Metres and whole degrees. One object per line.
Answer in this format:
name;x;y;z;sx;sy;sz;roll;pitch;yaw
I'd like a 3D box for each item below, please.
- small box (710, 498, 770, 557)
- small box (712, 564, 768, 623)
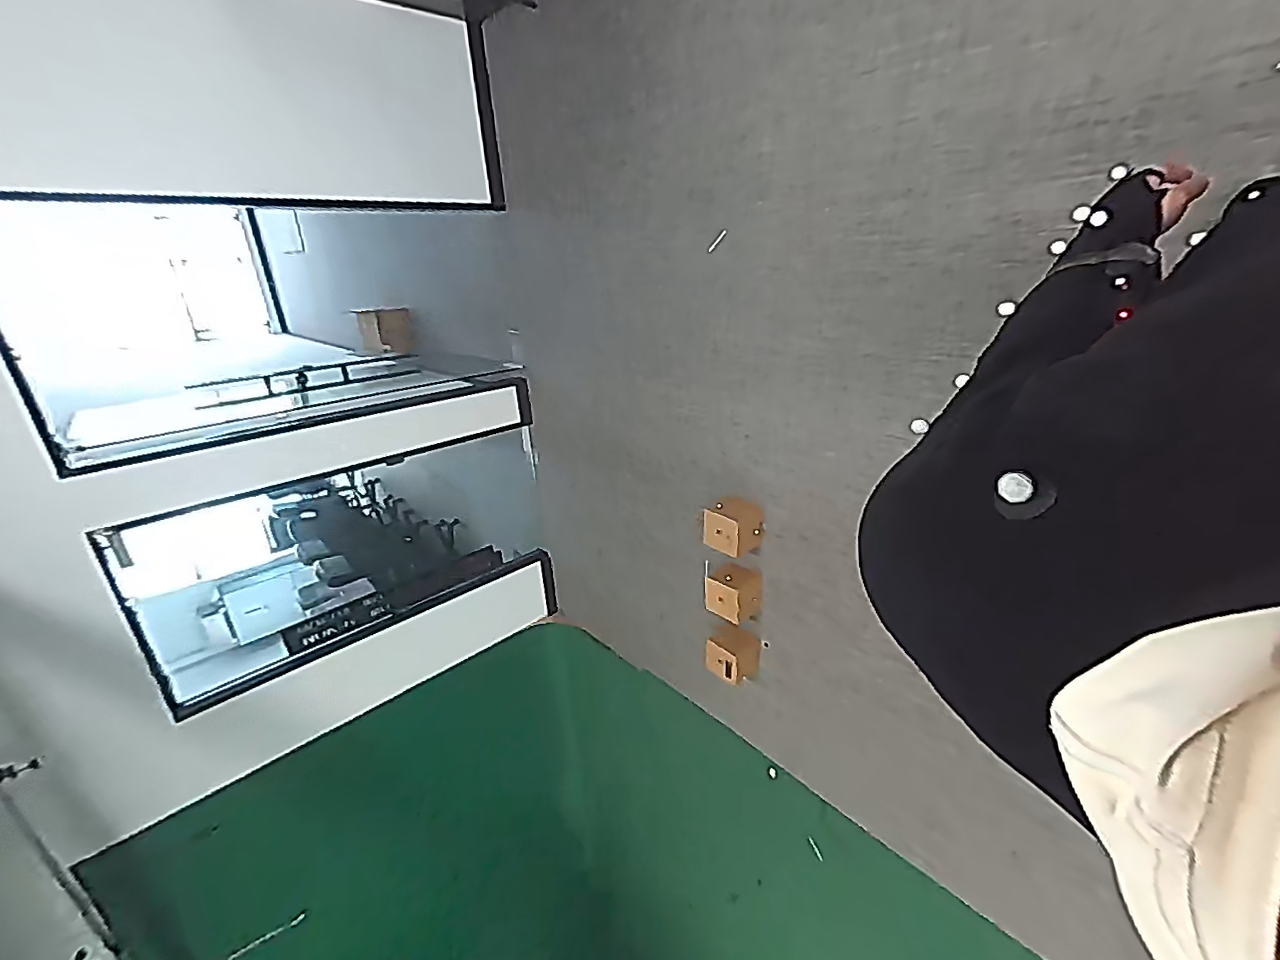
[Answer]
small box;0.408;0.187;2.212;0.179;0.176;0.168;23;123;44
small box;0.429;0.480;2.325;0.179;0.176;0.168;19;120;45
